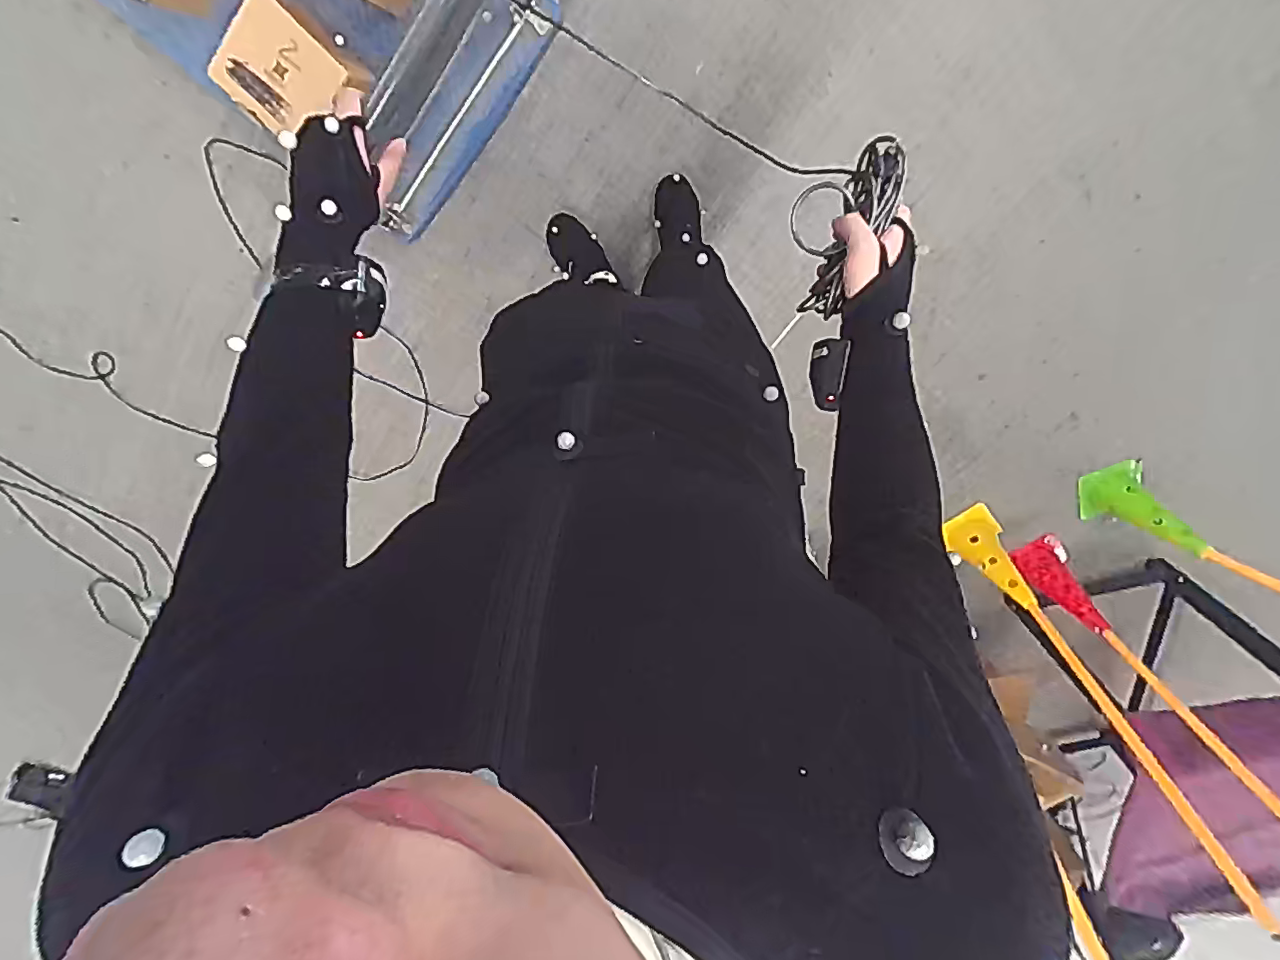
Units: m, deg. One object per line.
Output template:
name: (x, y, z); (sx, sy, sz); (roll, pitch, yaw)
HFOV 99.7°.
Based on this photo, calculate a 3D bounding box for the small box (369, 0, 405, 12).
small box: (-0.459, -0.916, 0.875); (0.179, 0.176, 0.168); (39, 112, -24)

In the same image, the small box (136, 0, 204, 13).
small box: (-0.811, -0.897, 0.861); (0.179, 0.176, 0.168); (34, 113, -22)
